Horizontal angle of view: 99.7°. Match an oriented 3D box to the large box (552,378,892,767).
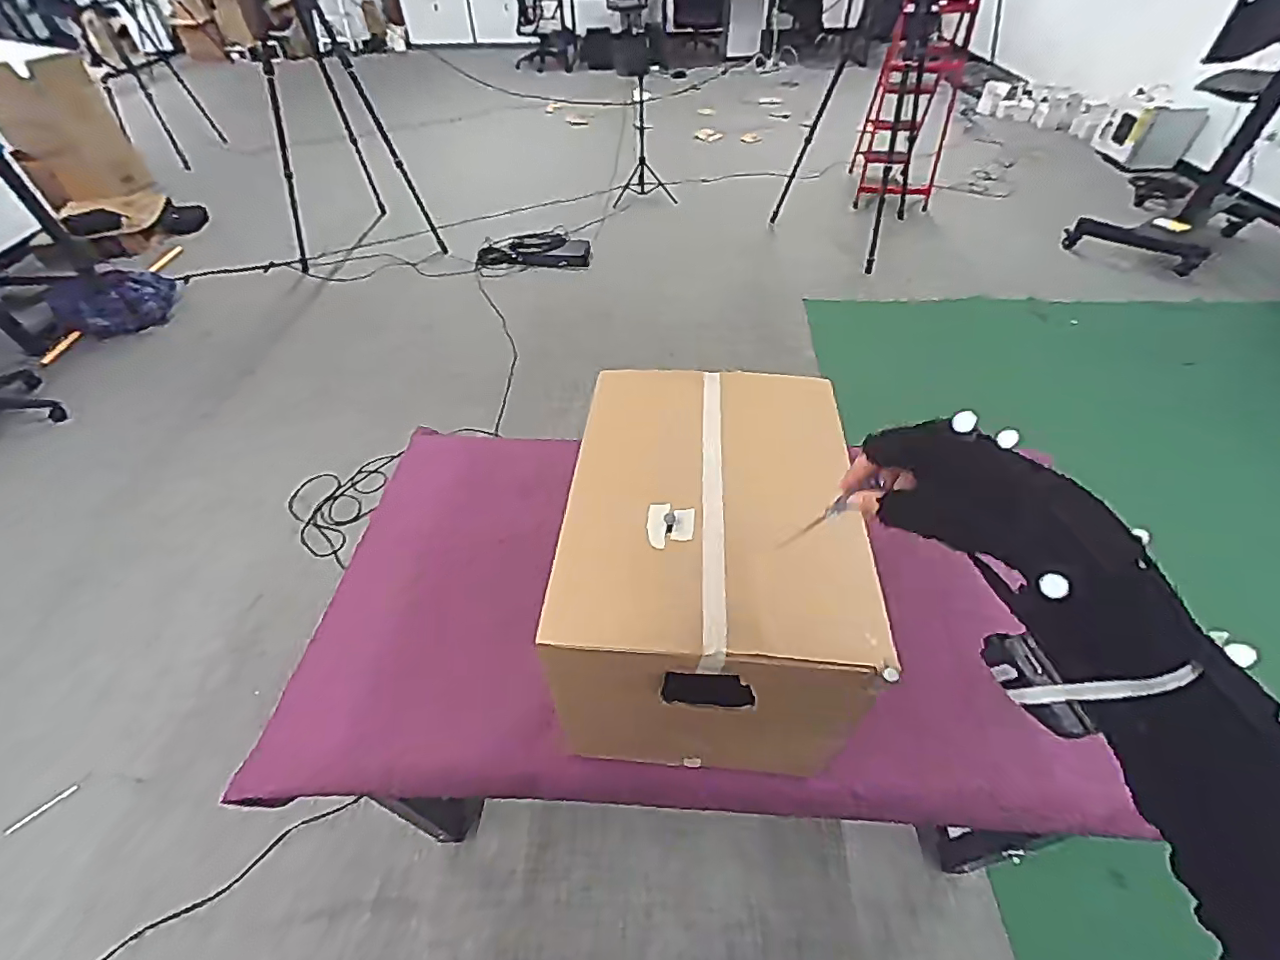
[{"bbox_3d":[0.085,0.114,0.722,0.320,0.320,0.408,3,48,4],"label":"large box"}]
